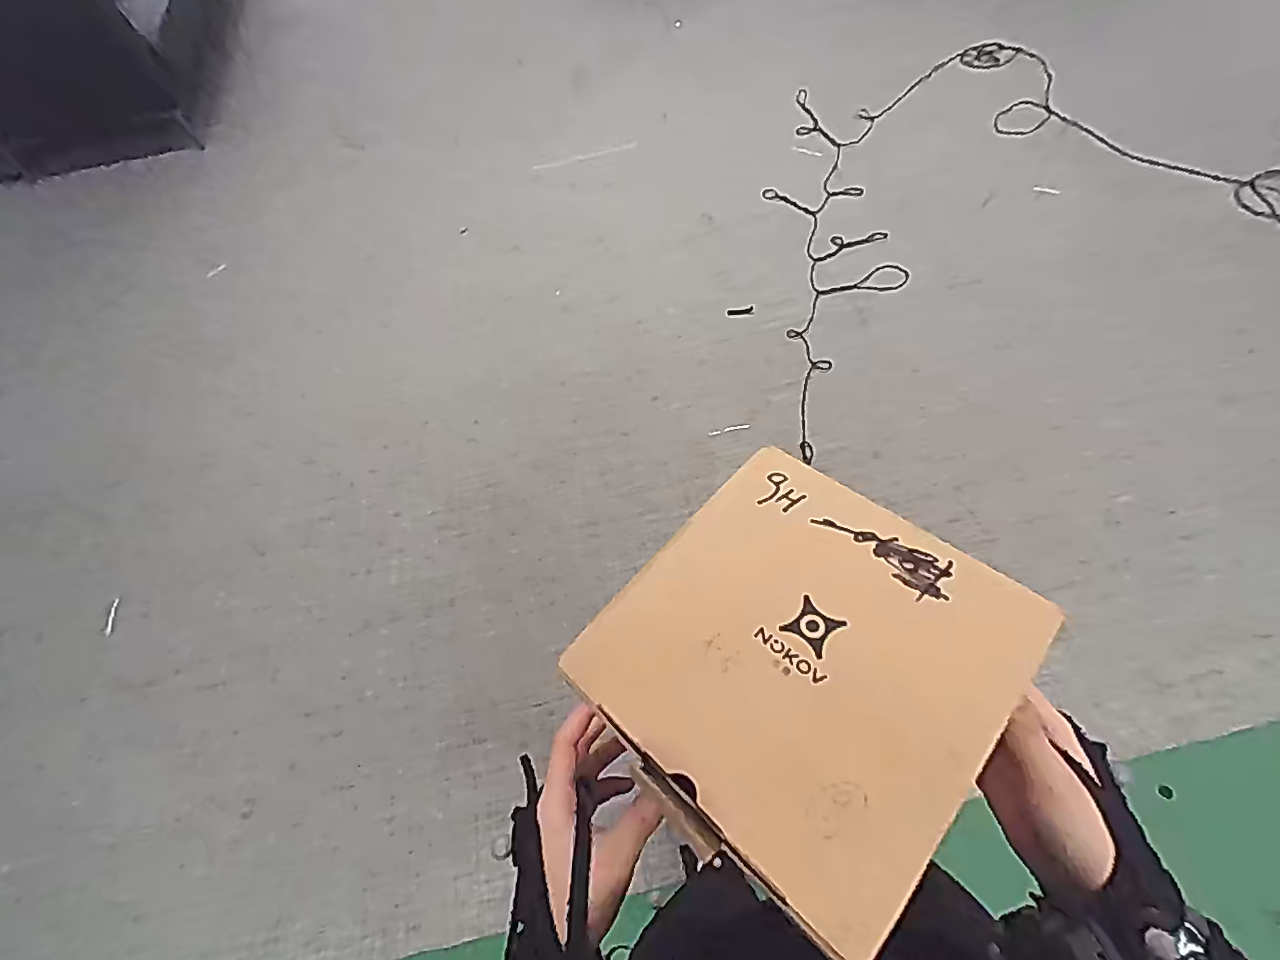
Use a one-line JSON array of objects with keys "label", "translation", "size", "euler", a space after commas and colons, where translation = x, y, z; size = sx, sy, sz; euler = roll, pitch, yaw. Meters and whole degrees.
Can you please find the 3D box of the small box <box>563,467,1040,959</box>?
[{"label": "small box", "translation": [0.087, 0.133, 0.329], "size": [0.168, 0.176, 0.179], "euler": [35, 66, 30]}]
